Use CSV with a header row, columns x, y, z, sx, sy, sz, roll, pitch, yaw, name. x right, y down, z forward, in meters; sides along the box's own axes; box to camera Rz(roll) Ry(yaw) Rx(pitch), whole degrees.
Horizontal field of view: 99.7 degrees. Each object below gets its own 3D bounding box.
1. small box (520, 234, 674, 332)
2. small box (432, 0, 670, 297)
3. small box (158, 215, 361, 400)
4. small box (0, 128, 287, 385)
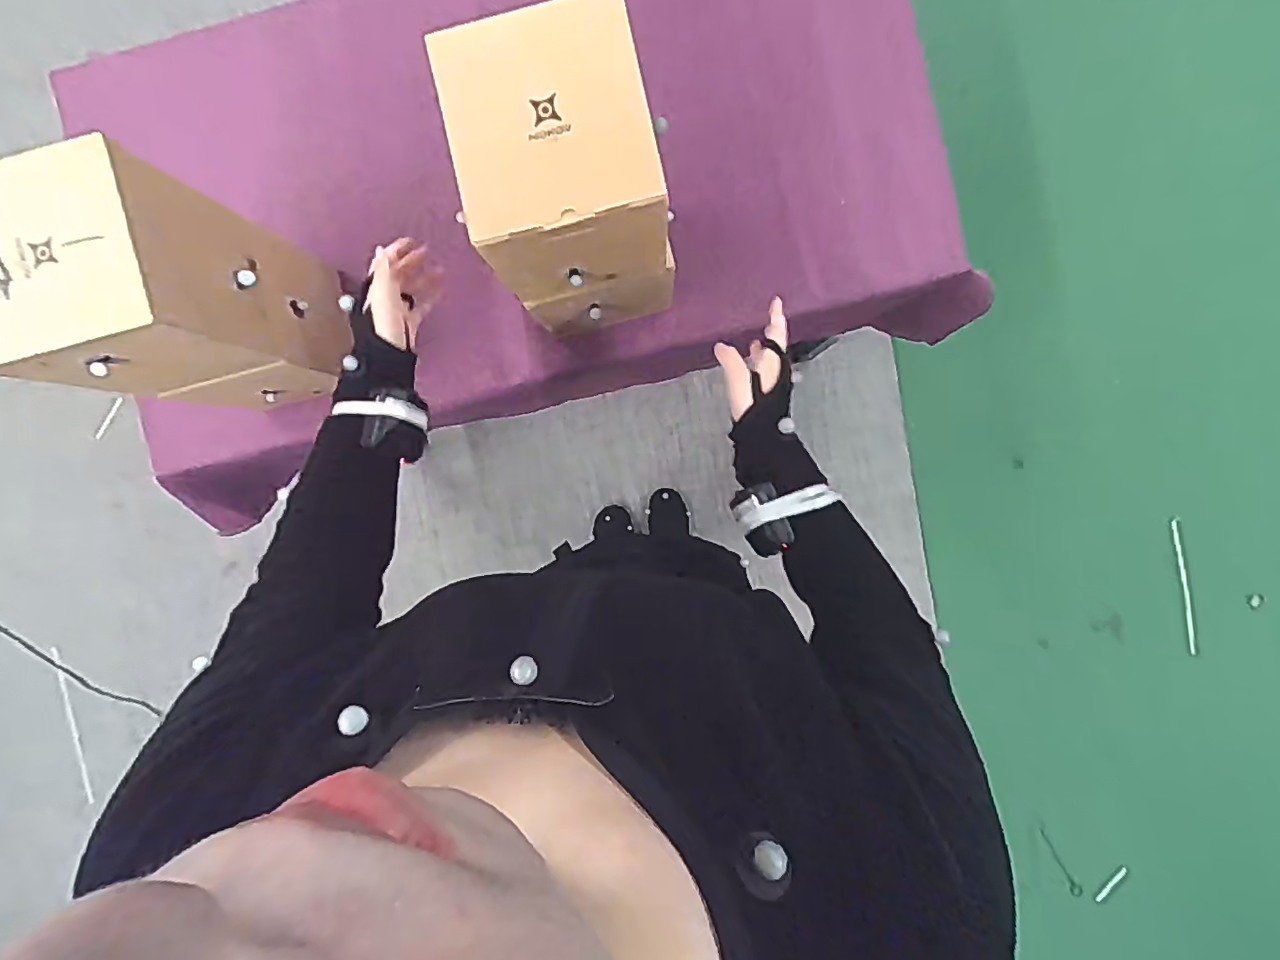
x,y,z,sx,sy,sz,roll,pitch,yaw,name
-0.058,-0.299,0.680,0.179,0.176,0.168,-14,92,4,small box
-0.071,-0.299,0.516,0.168,0.176,0.179,-13,92,3,small box
-0.496,-0.207,0.704,0.168,0.176,0.179,-13,91,2,small box
-0.504,-0.200,0.539,0.179,0.176,0.168,-13,92,2,small box
